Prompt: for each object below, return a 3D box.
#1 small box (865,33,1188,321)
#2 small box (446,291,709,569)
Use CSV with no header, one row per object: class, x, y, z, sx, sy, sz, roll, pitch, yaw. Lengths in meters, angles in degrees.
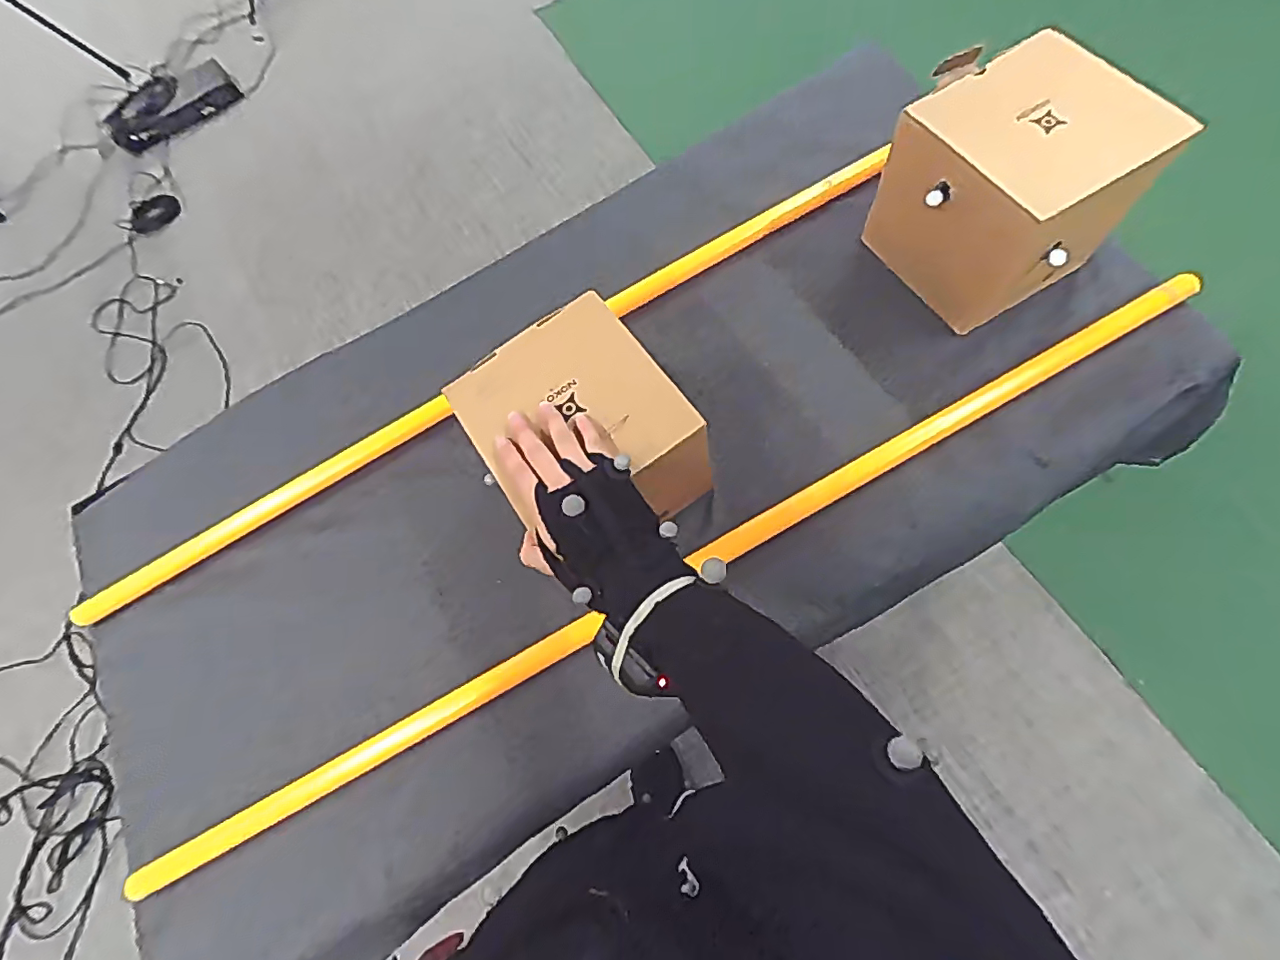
small box,0.367,-0.292,0.557,0.168,0.176,0.179,-31,68,-2
small box,-0.048,-0.036,0.528,0.168,0.176,0.179,-36,69,-4
